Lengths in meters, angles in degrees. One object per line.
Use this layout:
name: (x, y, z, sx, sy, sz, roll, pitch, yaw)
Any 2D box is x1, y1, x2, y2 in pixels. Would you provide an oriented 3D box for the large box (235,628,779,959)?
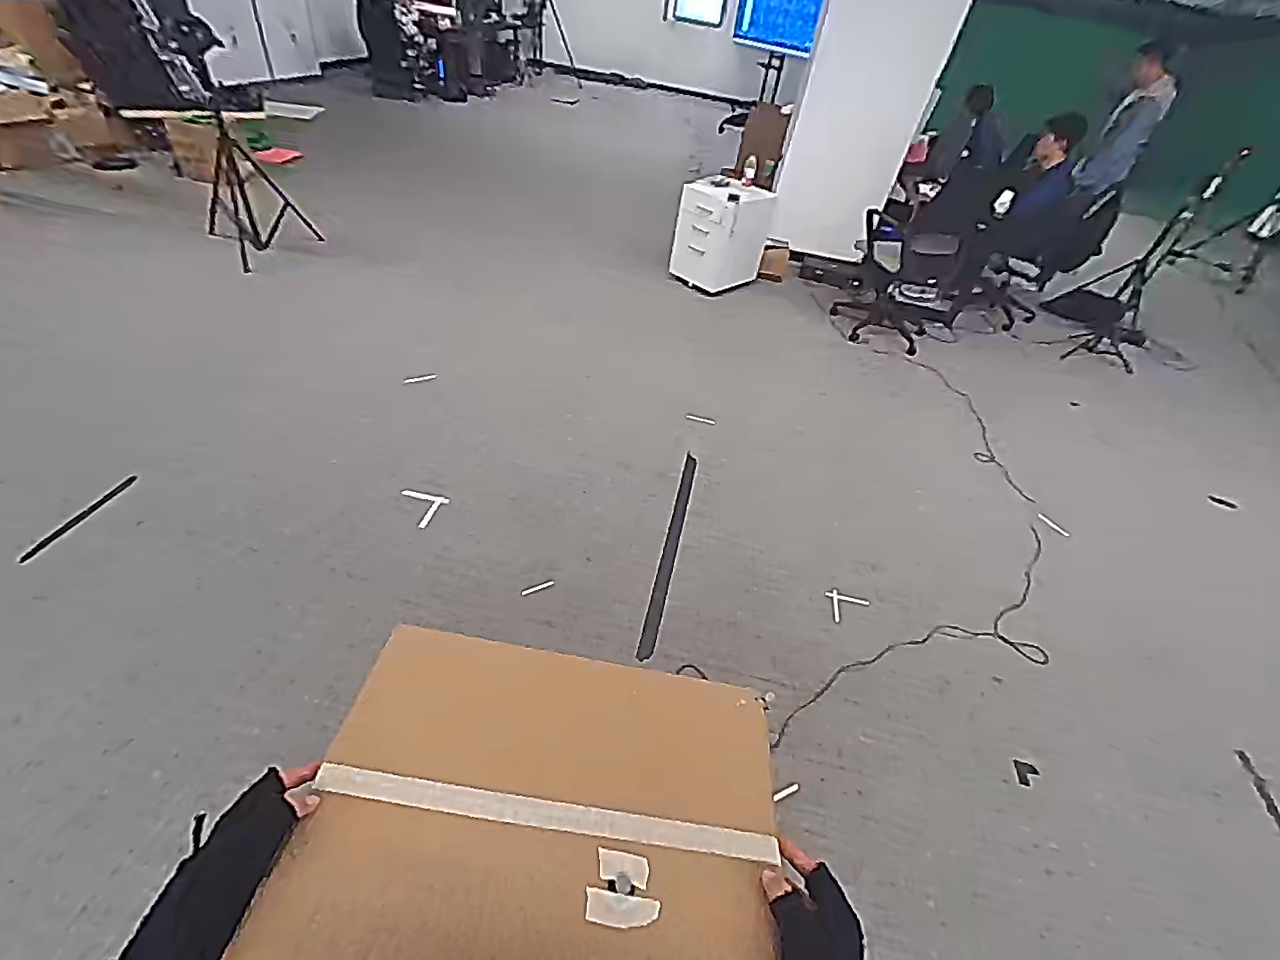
large box: (-0.106, 0.404, 0.572, 0.408, 0.320, 0.320, 12, 40, -3)
